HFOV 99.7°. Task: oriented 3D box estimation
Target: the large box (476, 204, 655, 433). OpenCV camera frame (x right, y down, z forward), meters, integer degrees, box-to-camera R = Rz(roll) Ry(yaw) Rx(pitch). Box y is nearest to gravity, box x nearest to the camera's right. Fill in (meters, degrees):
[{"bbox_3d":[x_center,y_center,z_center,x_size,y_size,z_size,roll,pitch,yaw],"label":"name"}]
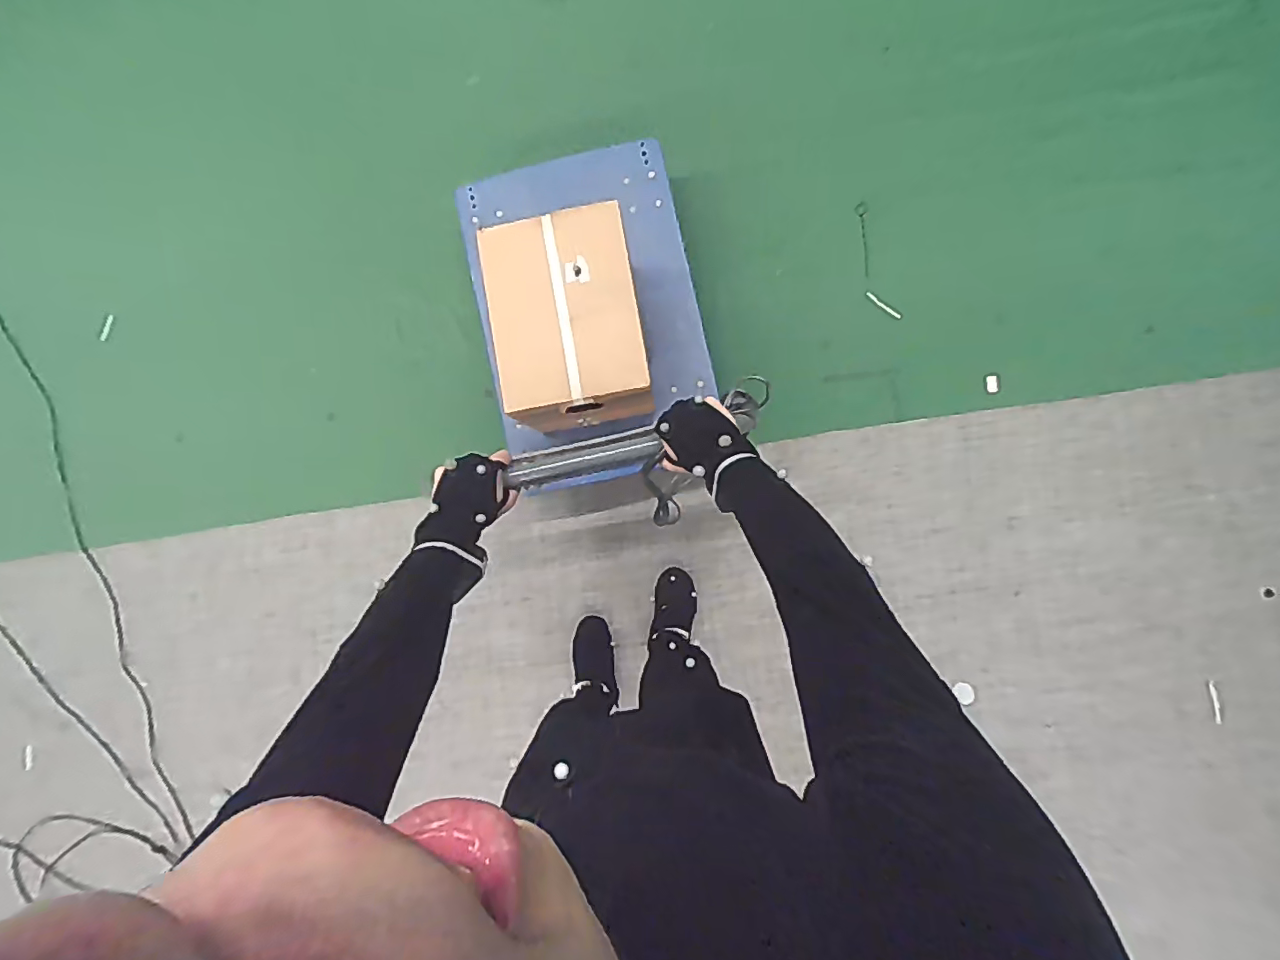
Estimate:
[{"bbox_3d":[-0.156,-0.353,1.282,0.320,0.320,0.408,-10,86,3],"label":"large box"}]
